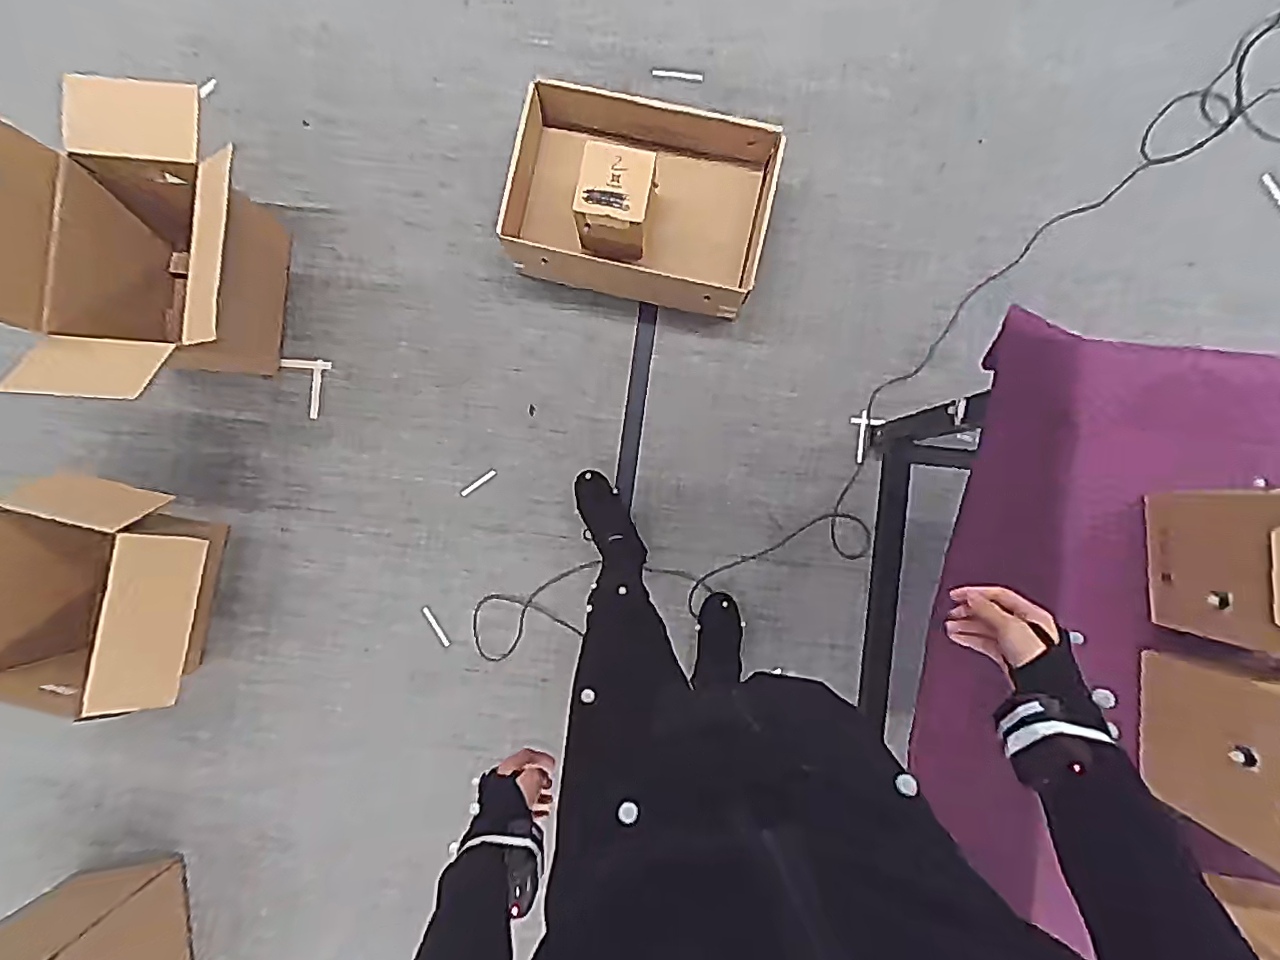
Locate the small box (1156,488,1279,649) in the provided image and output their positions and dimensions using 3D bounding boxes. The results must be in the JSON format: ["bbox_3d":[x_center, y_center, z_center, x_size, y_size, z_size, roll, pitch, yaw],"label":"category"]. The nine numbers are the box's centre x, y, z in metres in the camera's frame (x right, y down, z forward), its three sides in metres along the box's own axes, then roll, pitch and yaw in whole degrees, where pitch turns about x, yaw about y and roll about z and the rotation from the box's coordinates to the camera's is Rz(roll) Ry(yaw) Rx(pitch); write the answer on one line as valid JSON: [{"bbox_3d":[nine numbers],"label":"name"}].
[{"bbox_3d":[0.725,0.093,0.597,0.179,0.176,0.168,-1,89,1],"label":"small box"}]

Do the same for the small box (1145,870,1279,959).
[{"bbox_3d":[0.705,0.567,0.585,0.179,0.176,0.168,9,89,1],"label":"small box"}]
